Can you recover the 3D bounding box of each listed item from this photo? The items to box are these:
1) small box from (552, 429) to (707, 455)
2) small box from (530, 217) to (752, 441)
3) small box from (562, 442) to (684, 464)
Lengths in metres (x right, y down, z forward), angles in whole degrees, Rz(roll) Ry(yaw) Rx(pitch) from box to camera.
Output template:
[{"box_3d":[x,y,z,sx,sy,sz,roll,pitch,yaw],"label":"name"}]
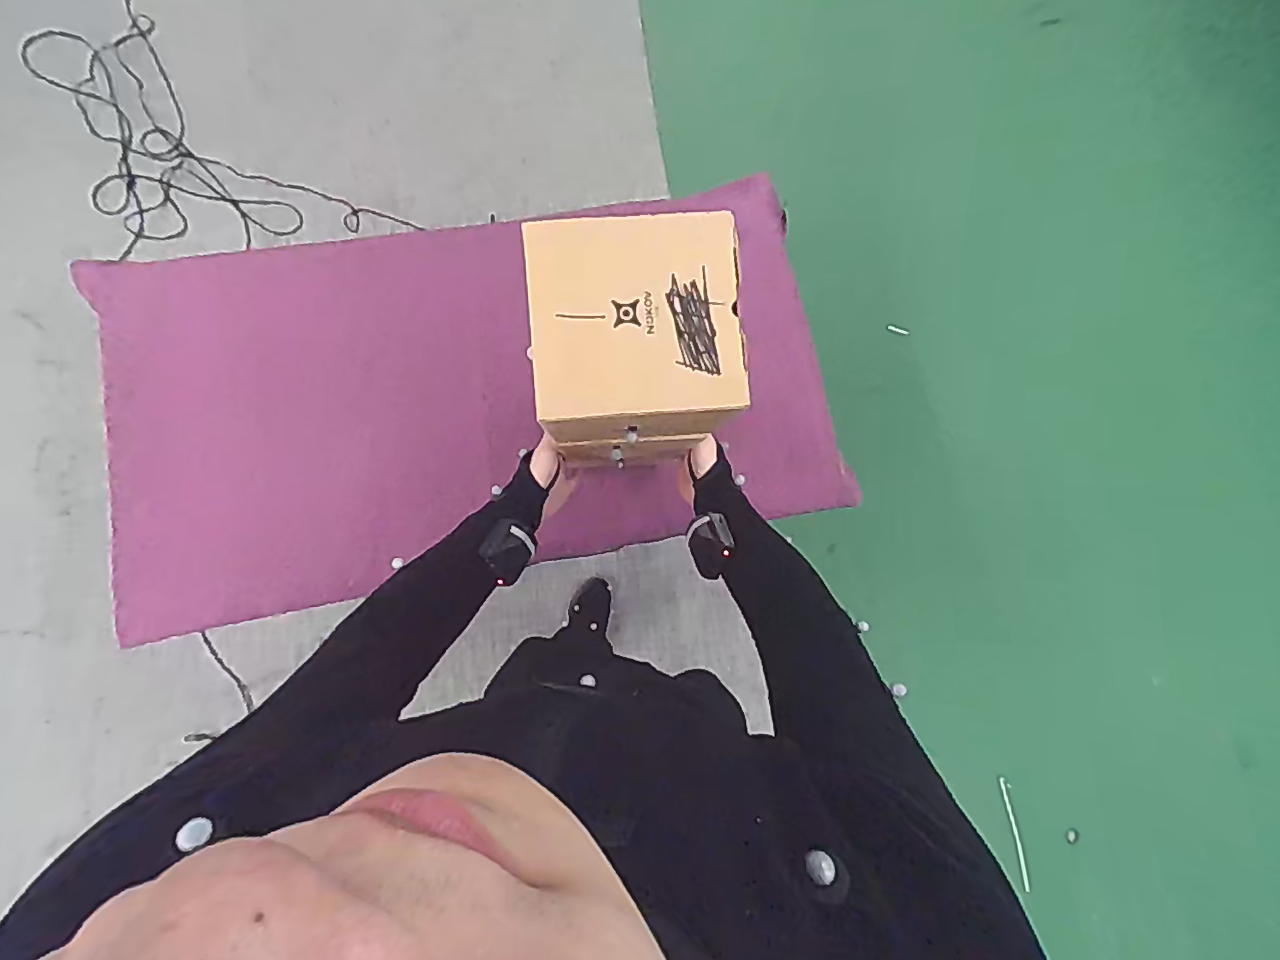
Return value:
[{"box_3d":[-0.017,-0.122,0.684,0.179,0.176,0.168,-3,88,-3],"label":"small box"},{"box_3d":[-0.004,-0.130,0.520,0.179,0.176,0.168,-4,88,-3],"label":"small box"},{"box_3d":[-0.029,-0.113,0.847,0.179,0.176,0.168,-1,88,-4],"label":"small box"}]
